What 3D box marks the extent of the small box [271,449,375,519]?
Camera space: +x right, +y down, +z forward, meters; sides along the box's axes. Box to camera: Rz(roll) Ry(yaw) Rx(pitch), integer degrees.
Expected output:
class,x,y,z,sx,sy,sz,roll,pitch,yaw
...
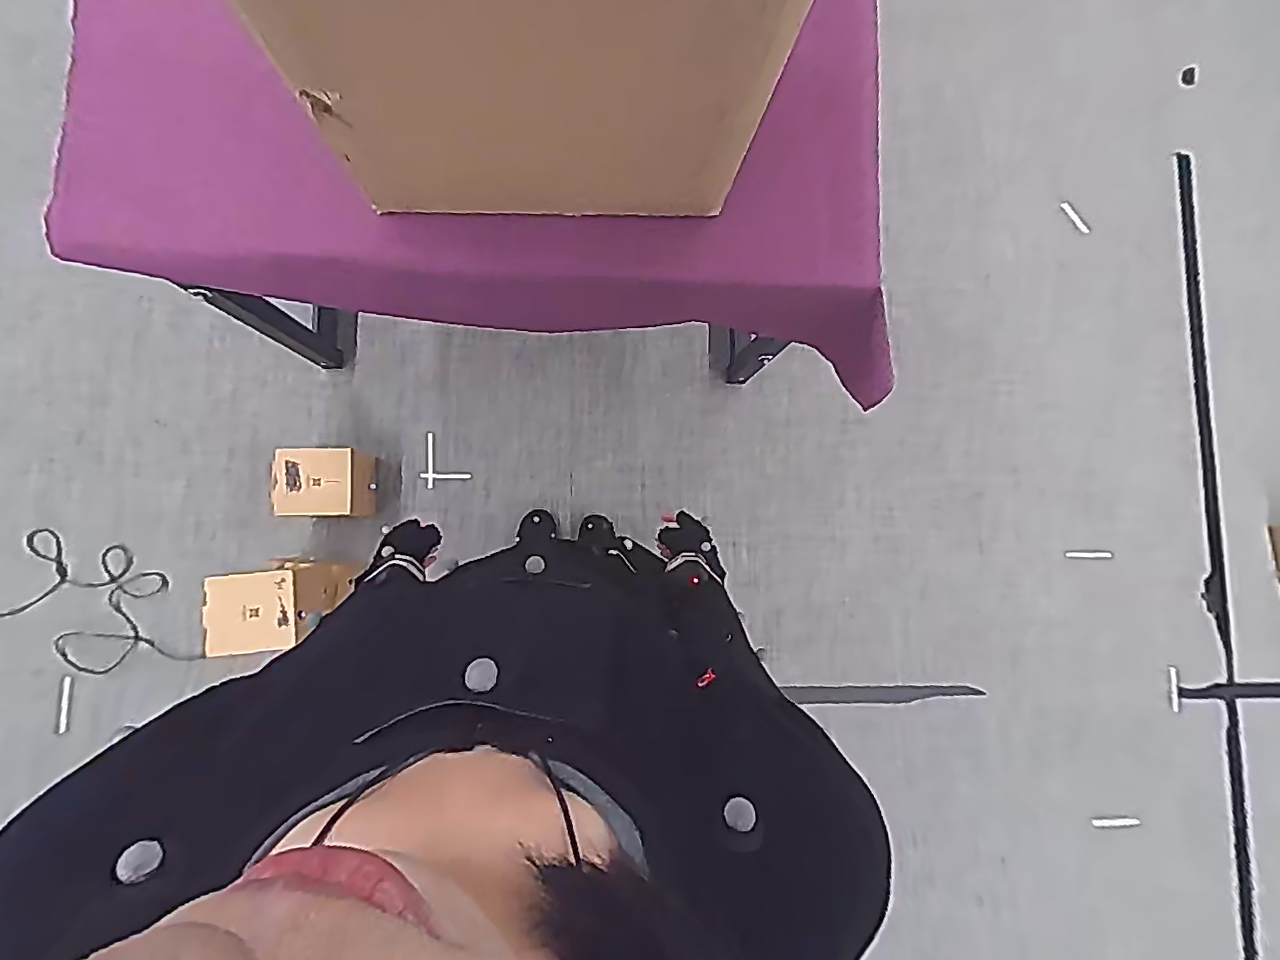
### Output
class,x,y,z,sx,sy,sz,roll,pitch,yaw
small box,-0.798,0.015,1.374,0.179,0.176,0.168,0,86,-7

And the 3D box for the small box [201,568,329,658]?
class,x,y,z,sx,sy,sz,roll,pitch,yaw
small box,-0.815,0.285,1.189,0.179,0.176,0.168,-4,85,-6

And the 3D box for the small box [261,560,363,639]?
class,x,y,z,sx,sy,sz,roll,pitch,yaw
small box,-0.821,0.292,1.353,0.179,0.176,0.168,6,84,-4
